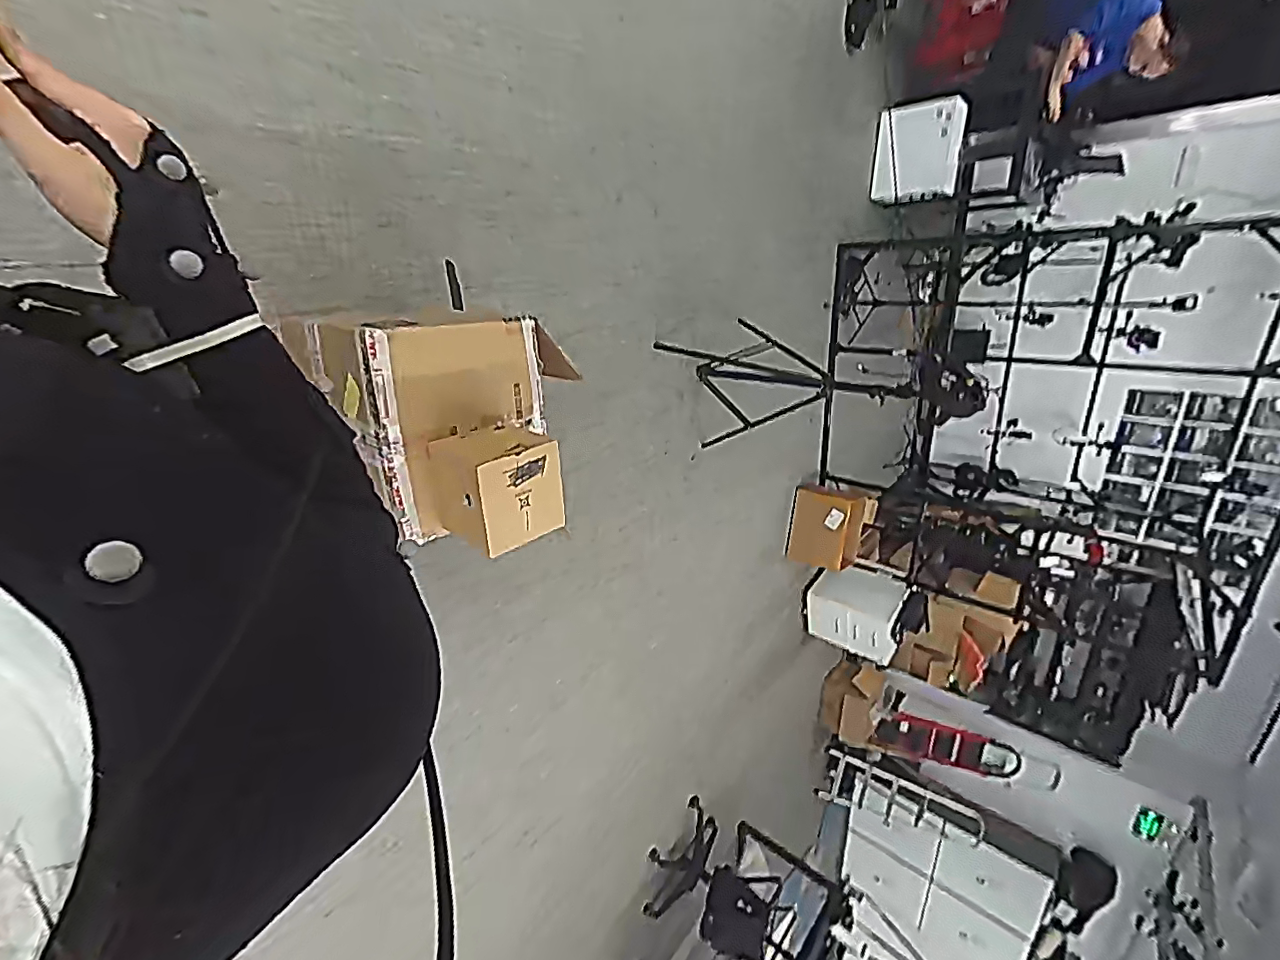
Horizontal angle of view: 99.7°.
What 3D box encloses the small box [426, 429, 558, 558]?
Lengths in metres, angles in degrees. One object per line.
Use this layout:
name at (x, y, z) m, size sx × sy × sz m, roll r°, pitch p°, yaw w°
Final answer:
small box at (-0.271, 0.012, 0.992) m, size 0.168 × 0.176 × 0.179 m, roll -23°, pitch 121°, yaw -41°
